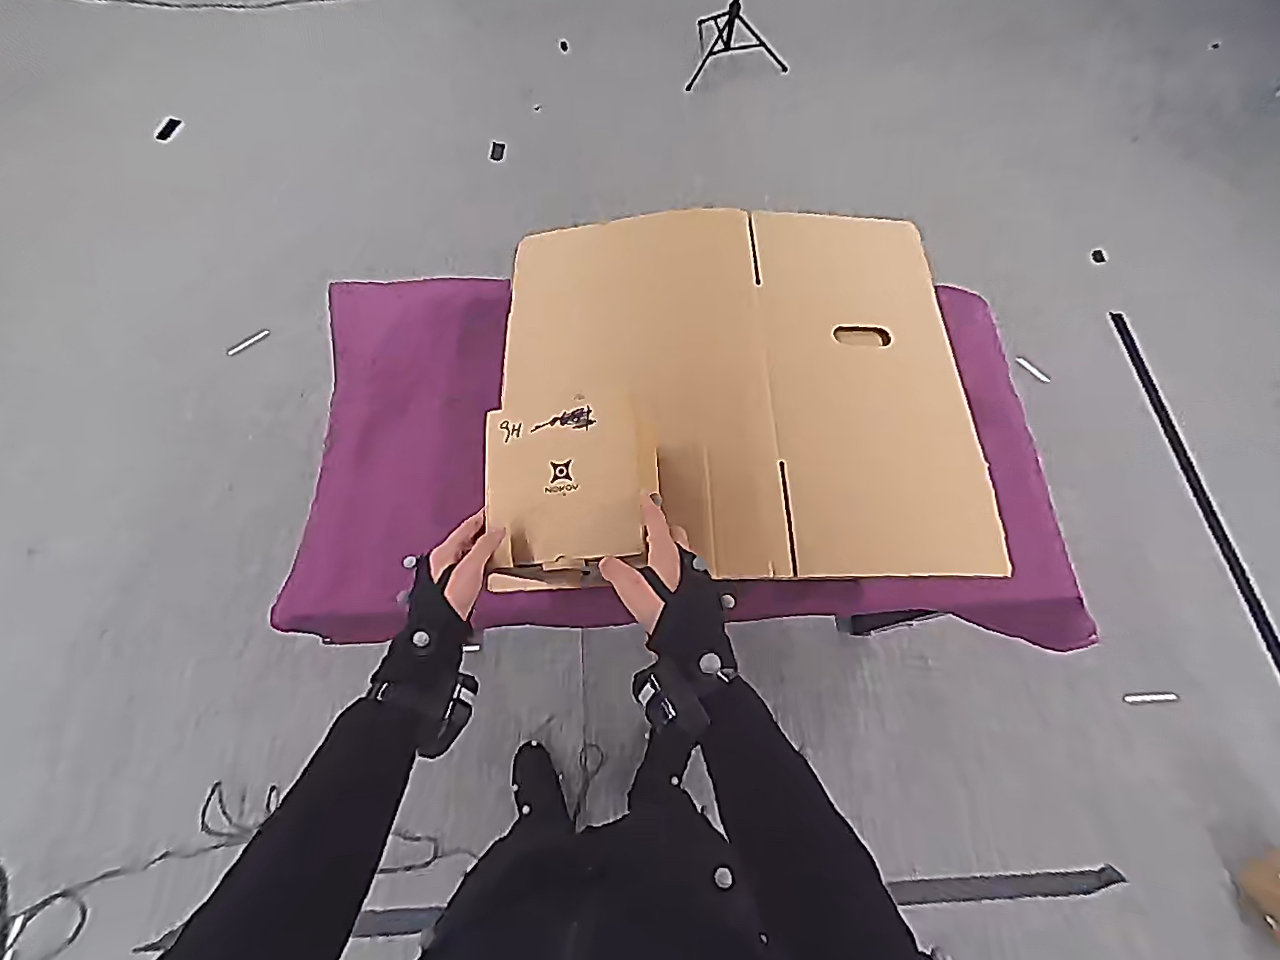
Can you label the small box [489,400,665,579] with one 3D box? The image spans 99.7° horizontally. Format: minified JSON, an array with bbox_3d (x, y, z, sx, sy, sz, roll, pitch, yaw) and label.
[{"bbox_3d":[-0.065,0.024,0.642,0.168,0.176,0.179,-6,75,8],"label":"small box"}]
